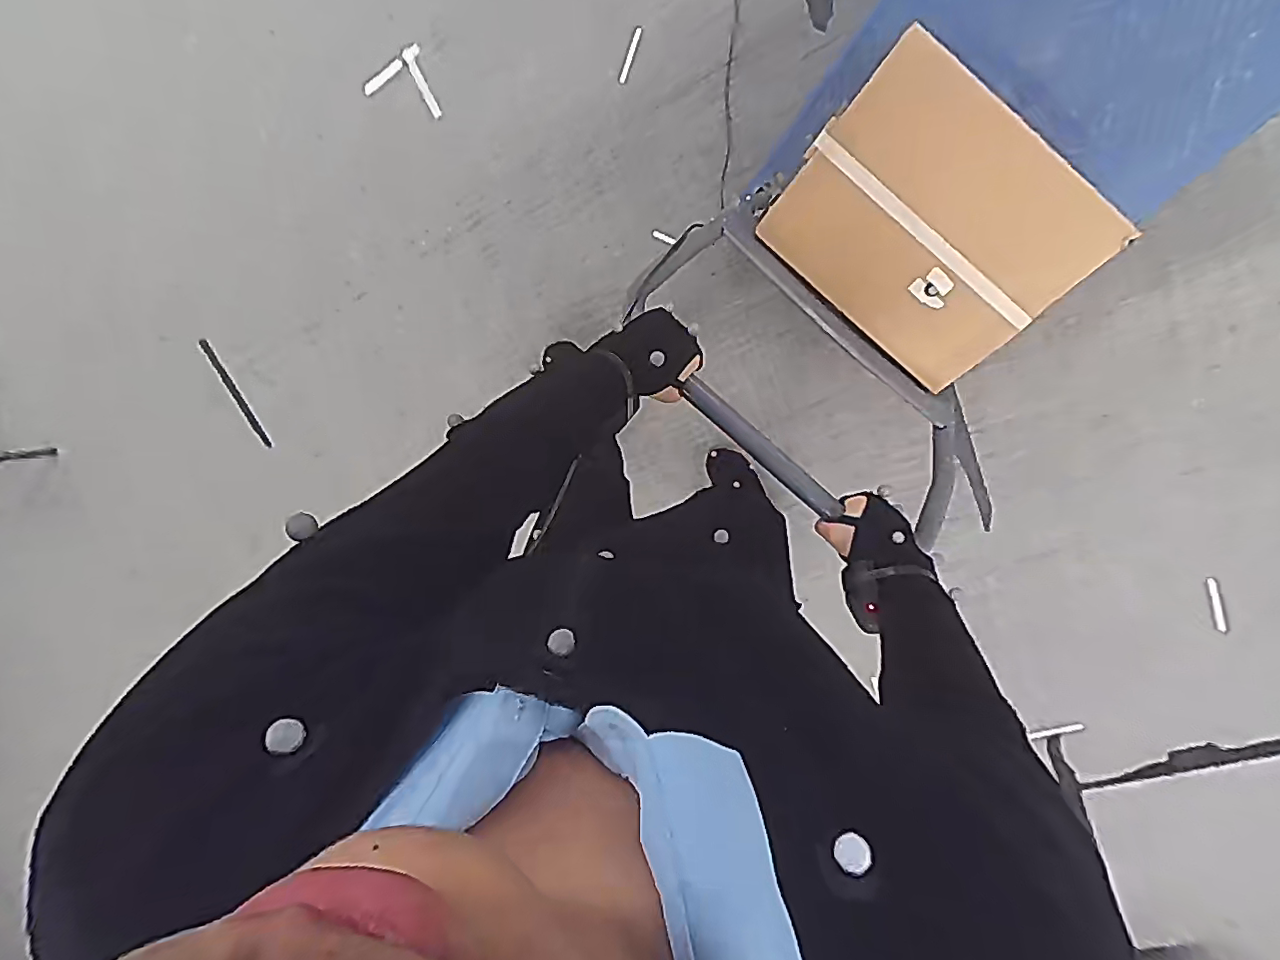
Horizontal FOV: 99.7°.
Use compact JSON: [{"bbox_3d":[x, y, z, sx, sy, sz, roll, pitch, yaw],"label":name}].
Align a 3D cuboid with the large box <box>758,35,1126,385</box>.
[{"bbox_3d":[0.475,-0.446,0.924,0.408,0.320,0.320,40,129,-4],"label":"large box"}]
